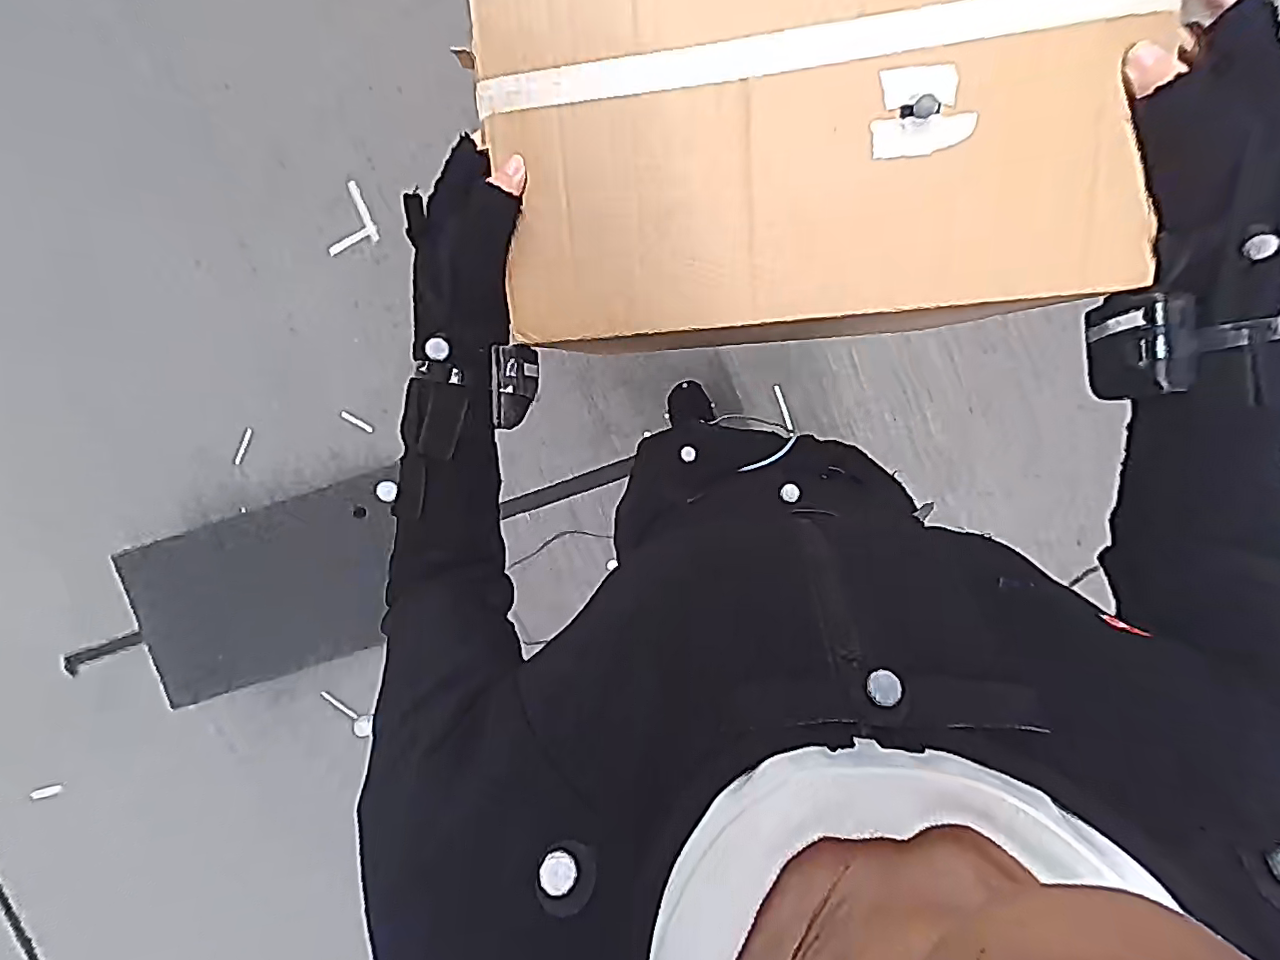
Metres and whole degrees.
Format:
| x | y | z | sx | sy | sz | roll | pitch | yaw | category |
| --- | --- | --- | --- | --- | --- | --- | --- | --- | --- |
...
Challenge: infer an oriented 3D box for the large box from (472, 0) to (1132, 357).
| x | y | z | sx | sy | sz | roll | pitch | yaw | category |
| --- | --- | --- | --- | --- | --- | --- | --- | --- | --- |
| 0.107 | -0.295 | 0.488 | 0.408 | 0.320 | 0.320 | -4 | 101 | 7 | large box |

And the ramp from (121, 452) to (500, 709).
| x | y | z | sx | sy | sz | roll | pitch | yaw | category |
| --- | --- | --- | --- | --- | --- | --- | --- | --- | --- |
| -0.955 | 0.293 | 1.582 | 0.991 | 0.206 | 0.509 | -19 | 93 | 10 | ramp |
